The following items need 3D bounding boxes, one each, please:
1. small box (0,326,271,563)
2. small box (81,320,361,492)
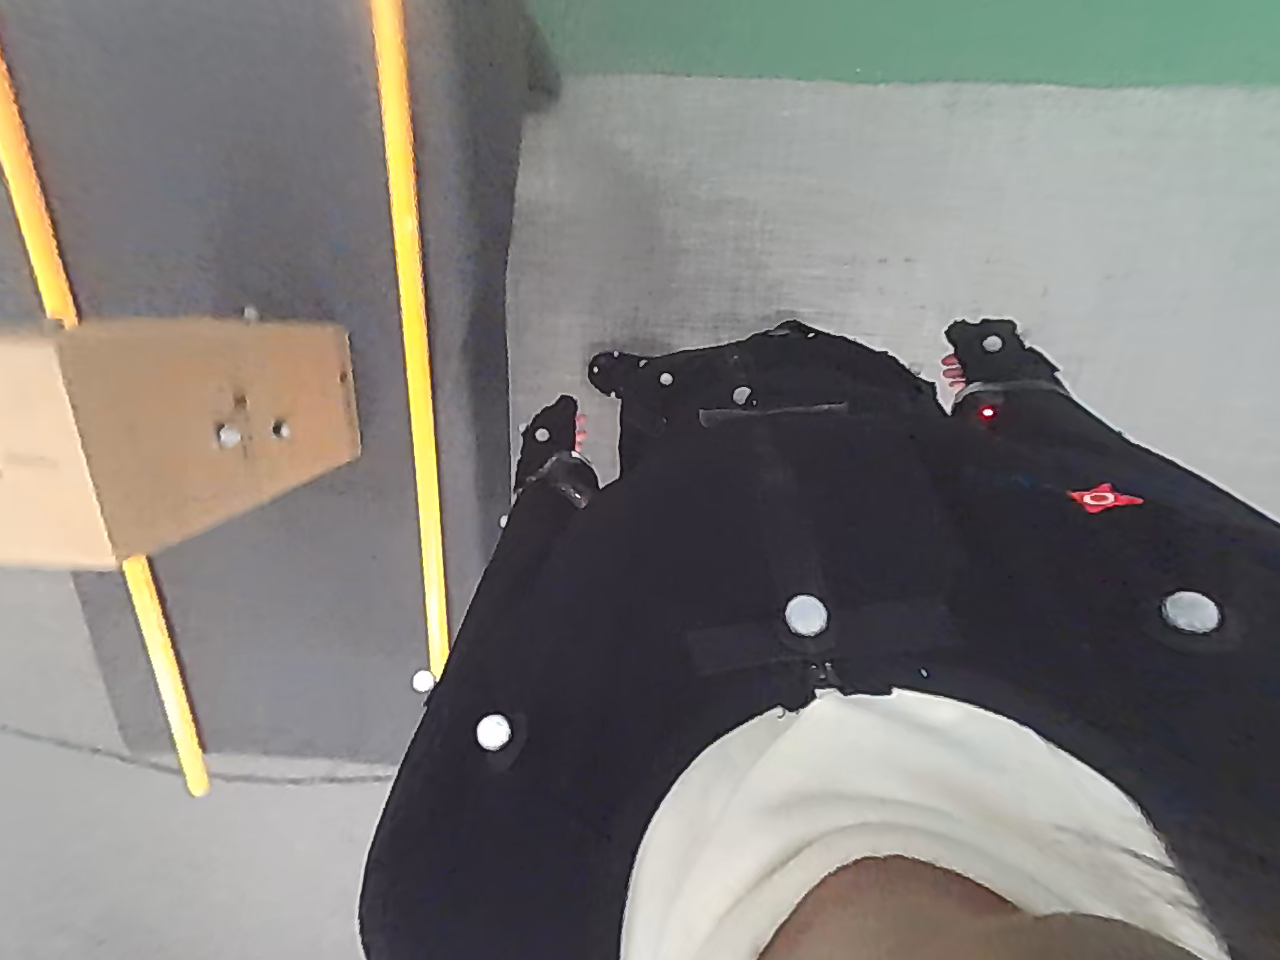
[{"bbox_3d":[-0.467,-0.043,0.463,0.179,0.176,0.168,2,107,3],"label":"small box"},{"bbox_3d":[-0.456,-0.094,0.619,0.179,0.176,0.168,3,108,4],"label":"small box"}]
